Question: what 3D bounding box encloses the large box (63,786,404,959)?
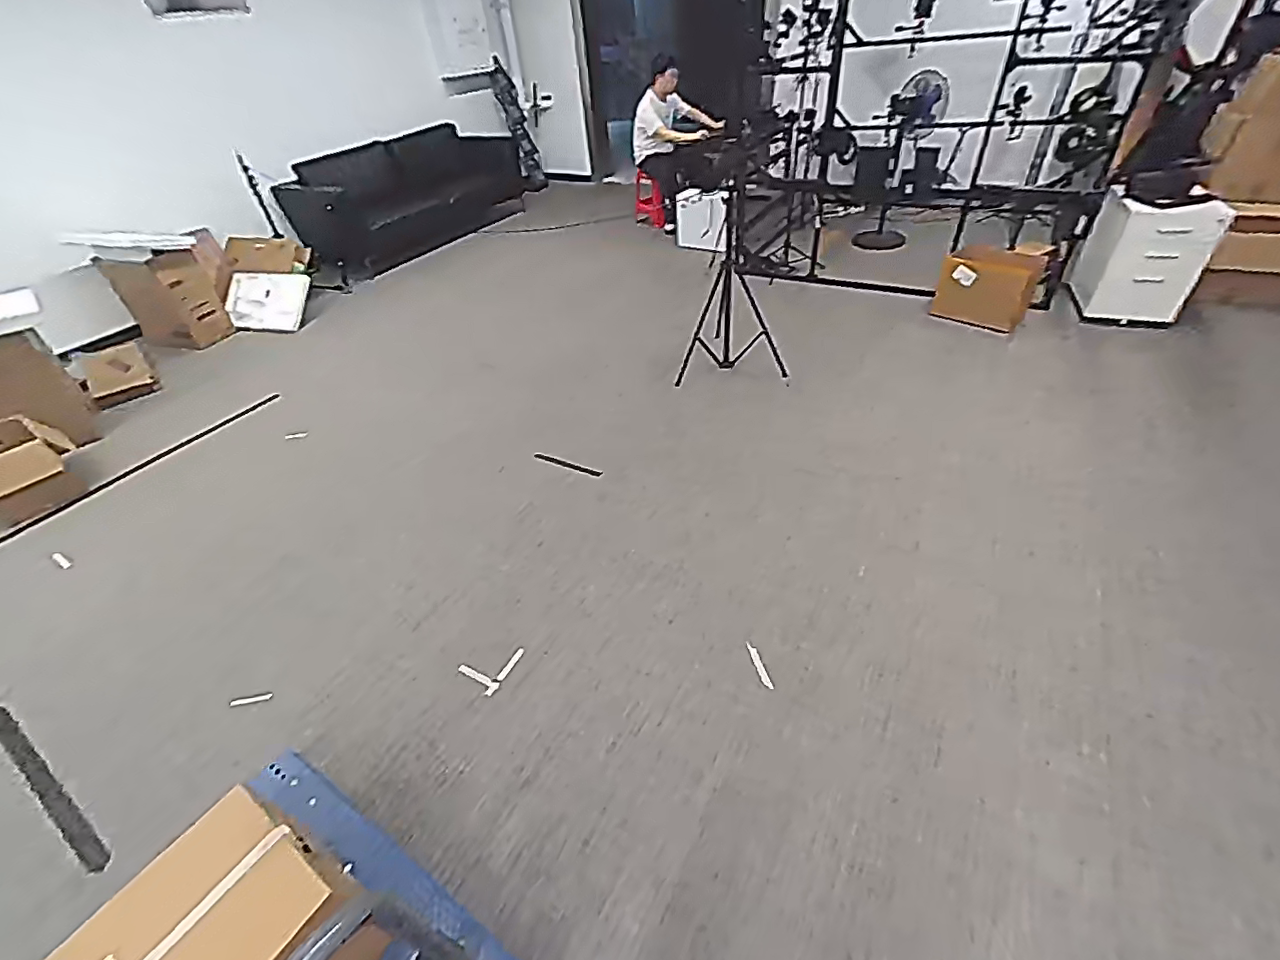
[{"bbox_3d":[-0.716,0.855,0.947,0.320,0.320,0.408,20,48,29],"label":"large box"}]
